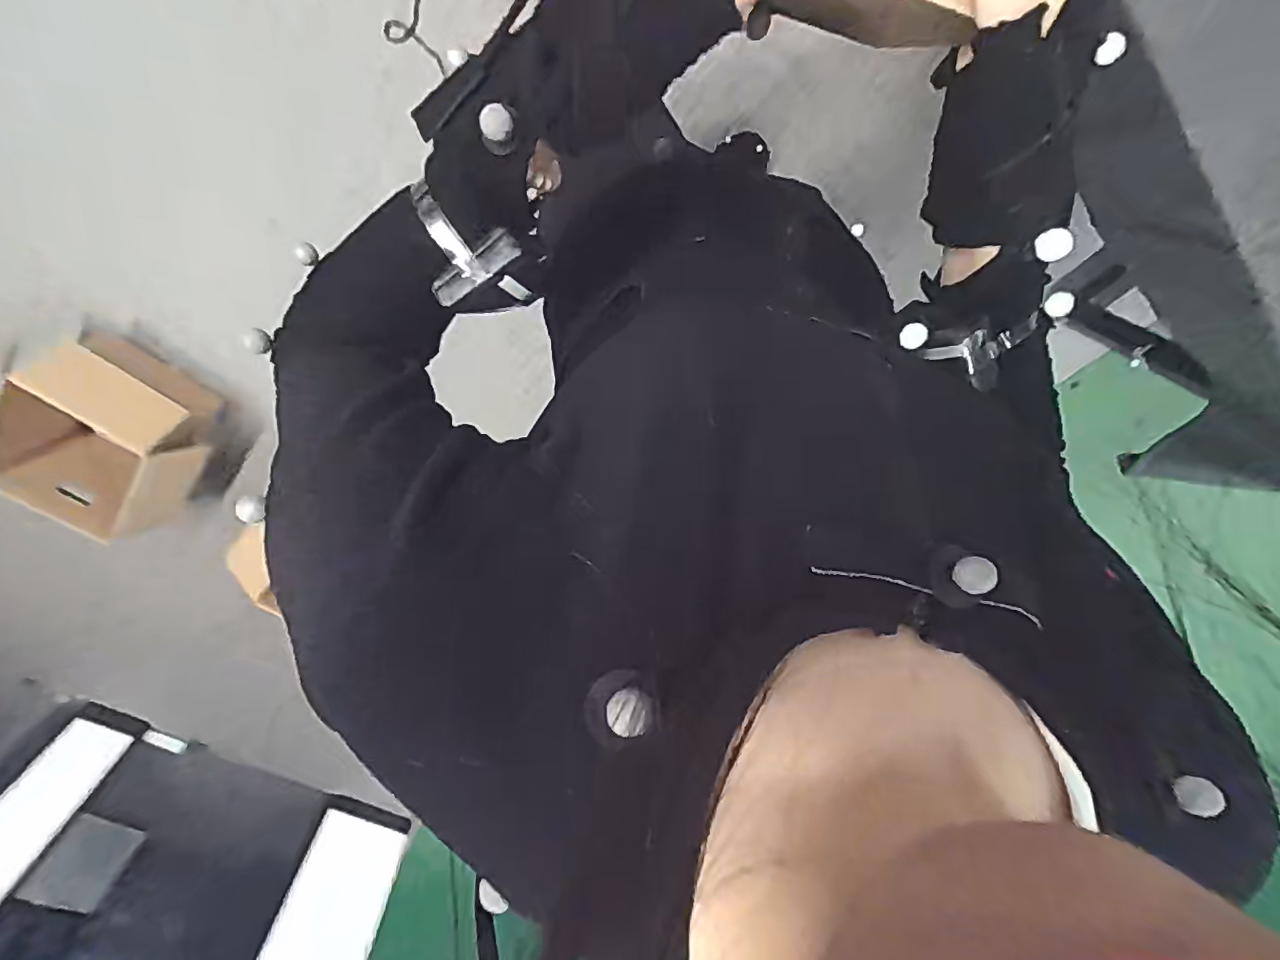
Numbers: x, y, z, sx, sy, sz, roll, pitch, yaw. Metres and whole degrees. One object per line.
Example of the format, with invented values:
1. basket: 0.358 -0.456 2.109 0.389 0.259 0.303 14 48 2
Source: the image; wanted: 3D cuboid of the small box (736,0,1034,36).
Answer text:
1. small box: 0.106 -0.336 0.246 0.168 0.176 0.179 6 126 -12
